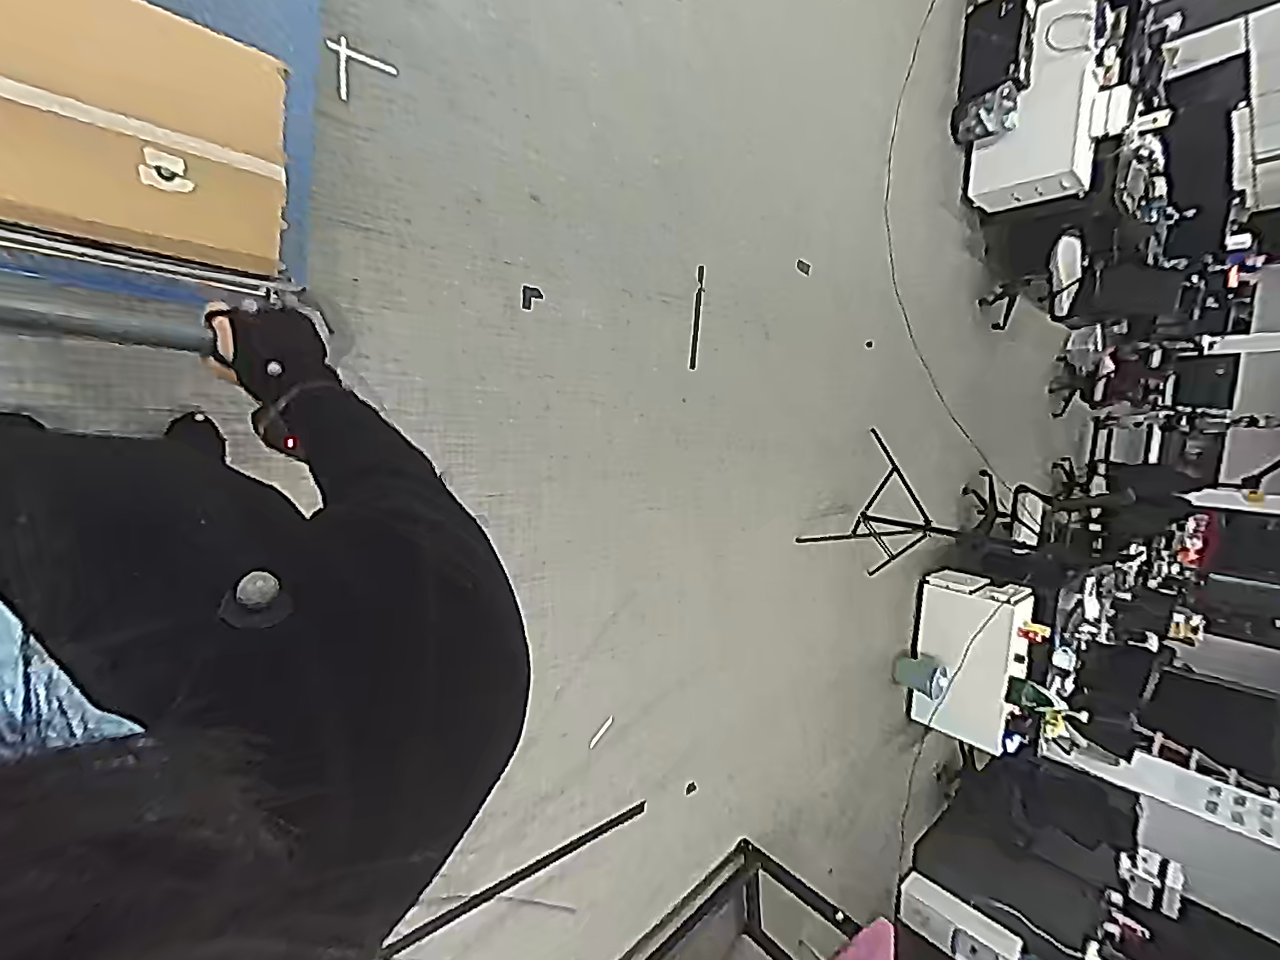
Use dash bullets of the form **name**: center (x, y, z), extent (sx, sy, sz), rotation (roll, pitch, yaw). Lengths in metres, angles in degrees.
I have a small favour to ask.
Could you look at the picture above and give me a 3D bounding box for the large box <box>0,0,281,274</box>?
- **large box**: center (-0.813, -0.519, 0.821), extent (0.408, 0.320, 0.320), rotation (0, 106, -42)
